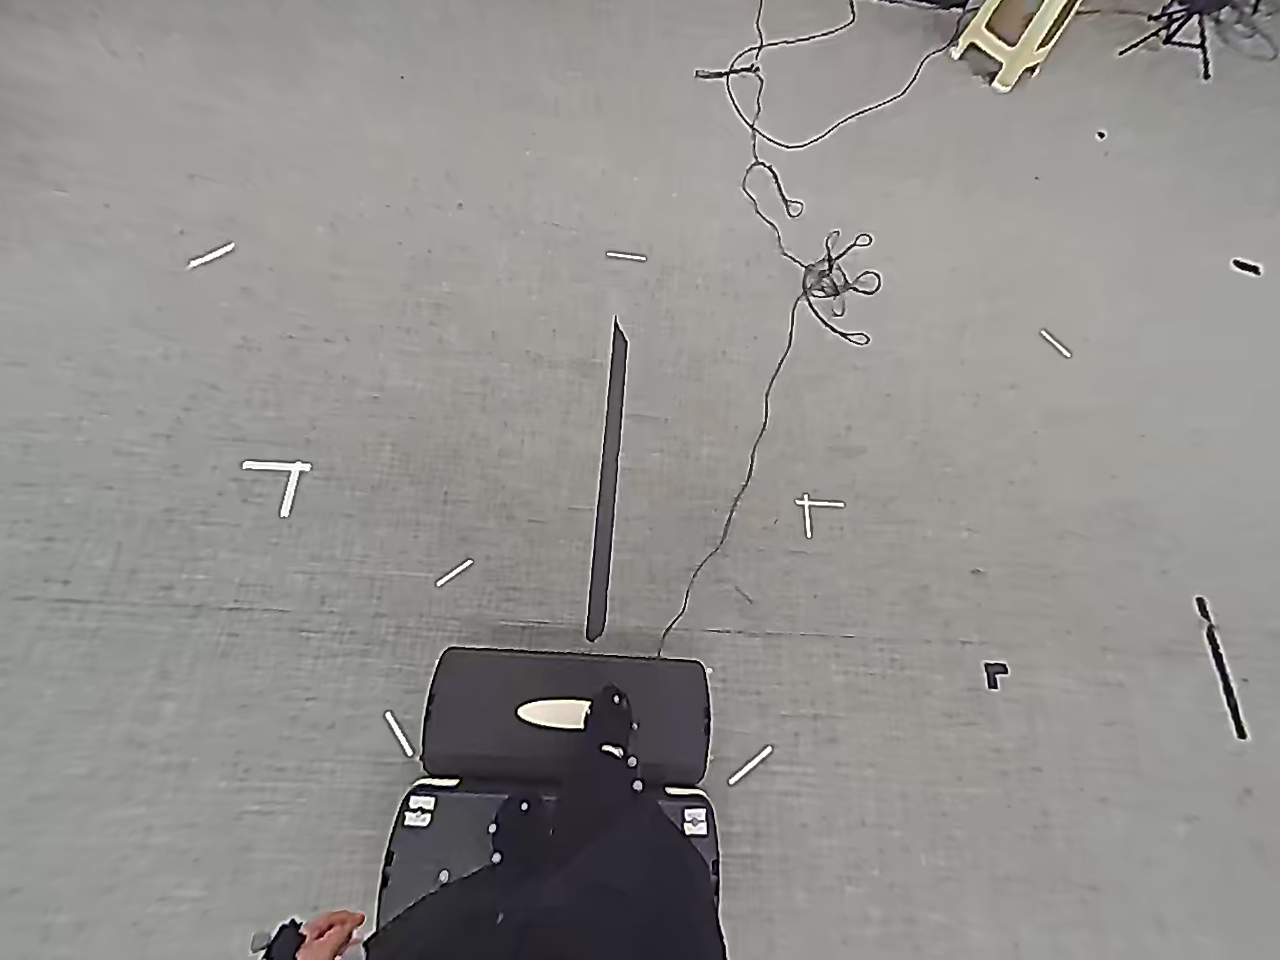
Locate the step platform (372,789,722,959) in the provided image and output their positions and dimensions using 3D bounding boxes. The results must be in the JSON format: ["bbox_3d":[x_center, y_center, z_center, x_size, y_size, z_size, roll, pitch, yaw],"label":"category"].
[{"bbox_3d":[-0.173,0.851,1.125,0.684,0.204,0.286,9,66,-2],"label":"step platform"}]
